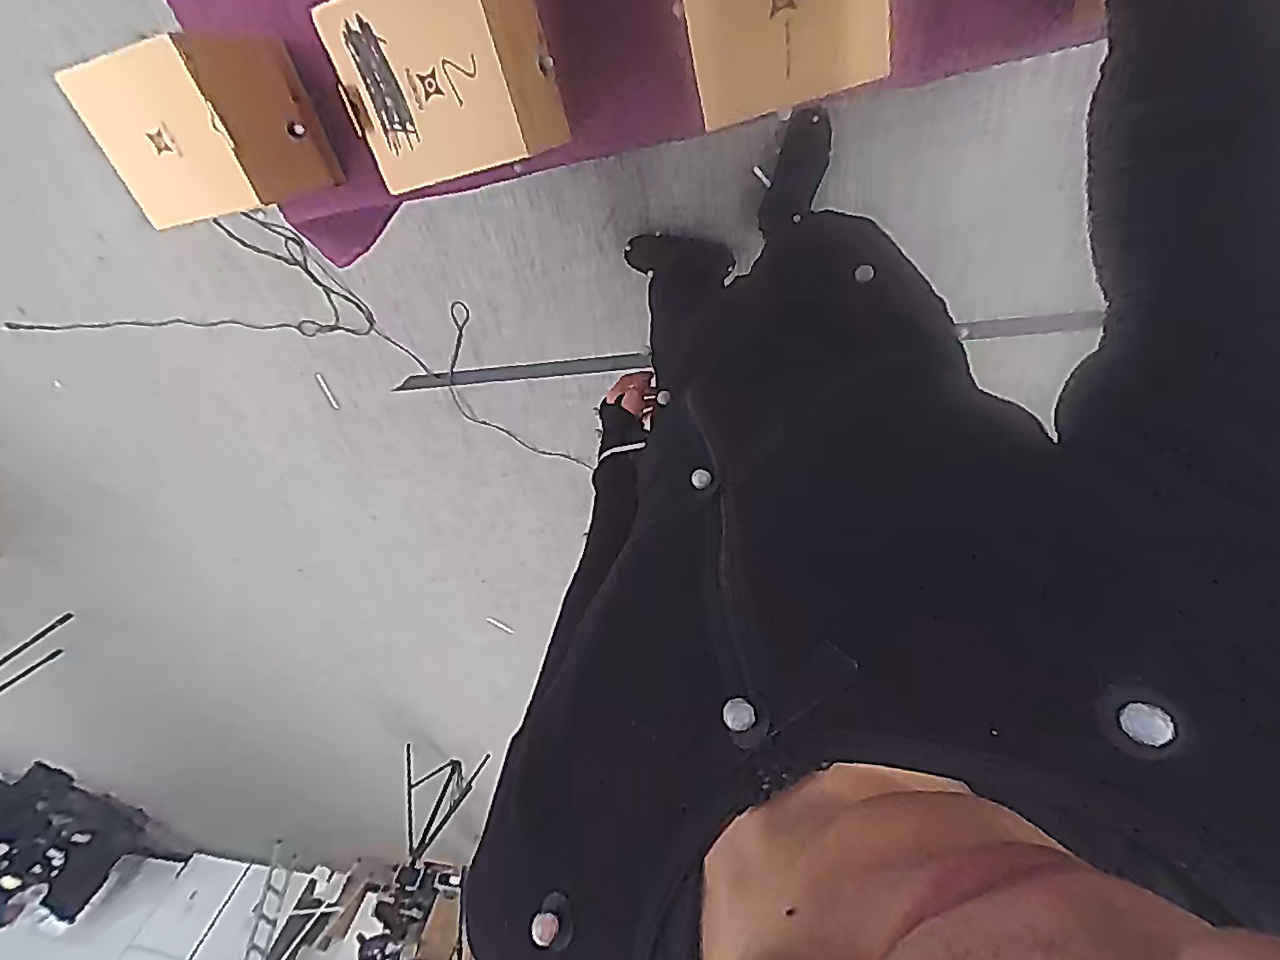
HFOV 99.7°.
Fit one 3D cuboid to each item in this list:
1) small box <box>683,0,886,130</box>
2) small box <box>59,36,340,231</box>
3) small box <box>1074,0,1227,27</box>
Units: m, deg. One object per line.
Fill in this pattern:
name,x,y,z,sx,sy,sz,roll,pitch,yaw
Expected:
small box,0.130,-0.459,0.511,0.168,0.176,0.179,-6,126,18
small box,-0.531,-0.431,0.682,0.179,0.176,0.168,-4,125,14
small box,0.477,-0.481,0.414,0.168,0.176,0.179,-2,126,16
